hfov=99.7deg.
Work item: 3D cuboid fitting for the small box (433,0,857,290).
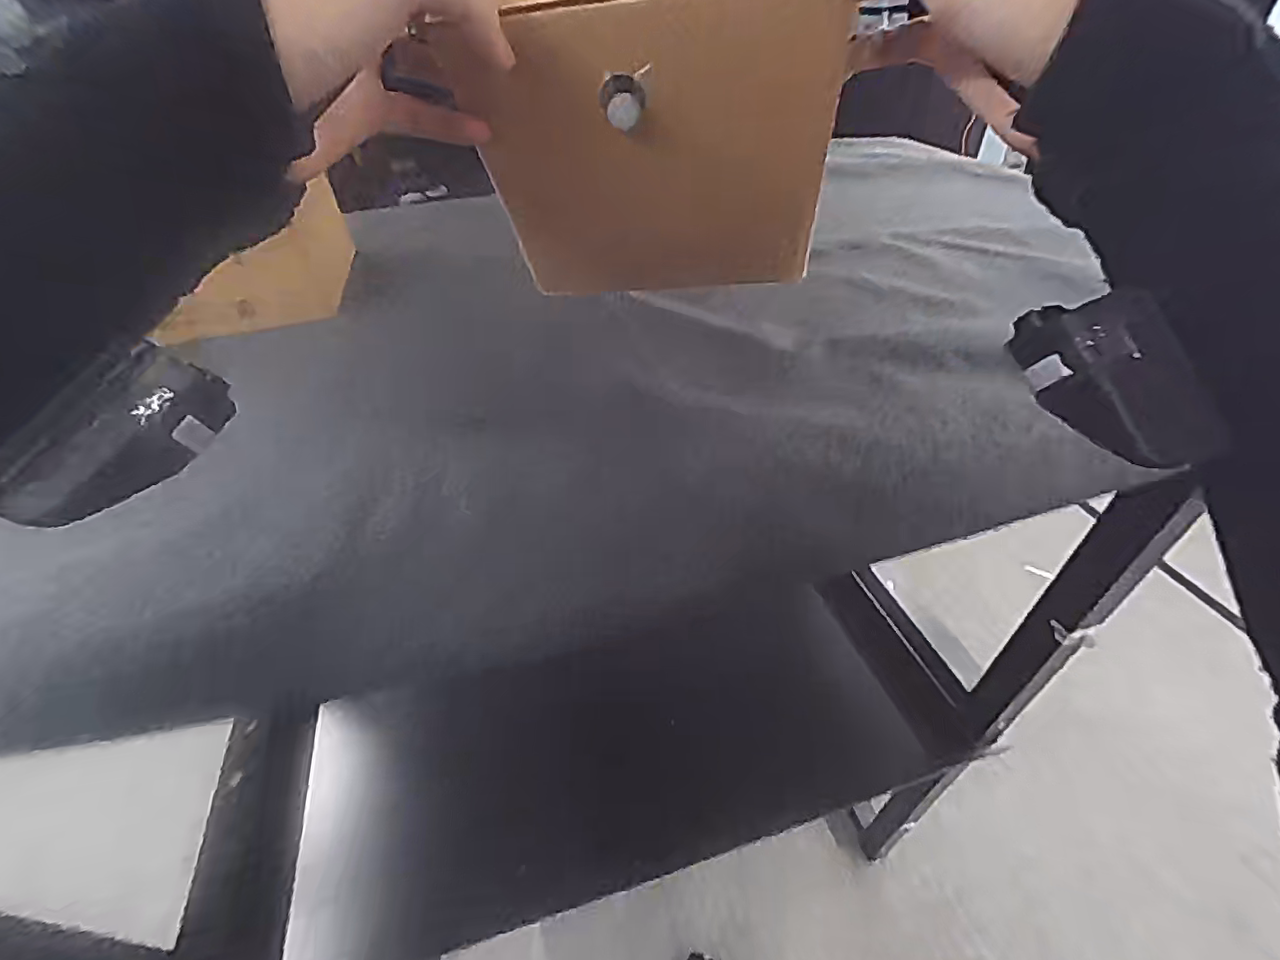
[{"bbox_3d":[0.015,-0.234,0.315,0.179,0.176,0.168,-1,68,10],"label":"small box"}]
